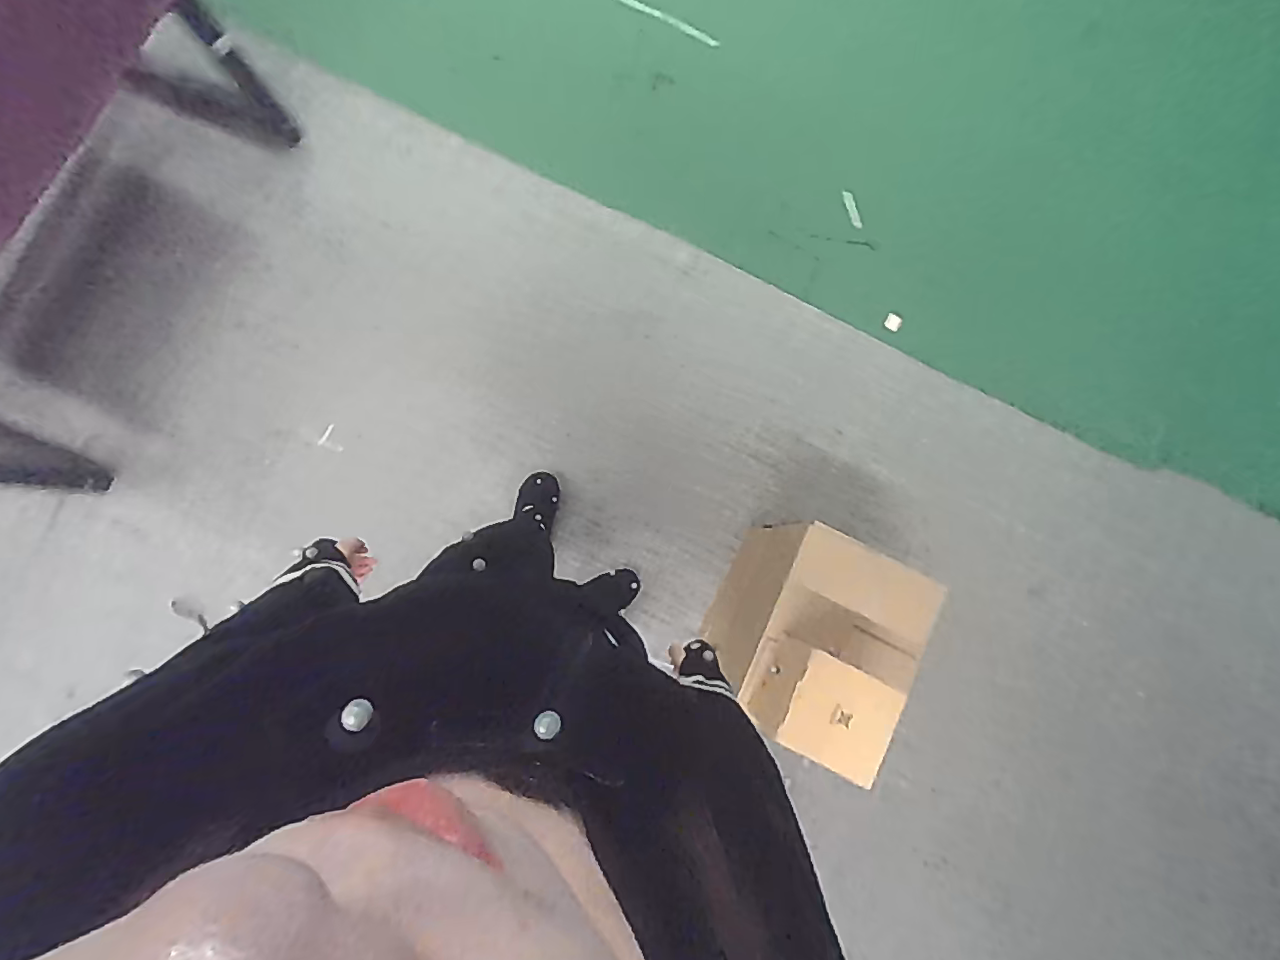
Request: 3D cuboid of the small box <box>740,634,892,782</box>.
[{"bbox_3d":[0.309,0.397,0.979,0.179,0.176,0.168,28,82,0],"label":"small box"}]
